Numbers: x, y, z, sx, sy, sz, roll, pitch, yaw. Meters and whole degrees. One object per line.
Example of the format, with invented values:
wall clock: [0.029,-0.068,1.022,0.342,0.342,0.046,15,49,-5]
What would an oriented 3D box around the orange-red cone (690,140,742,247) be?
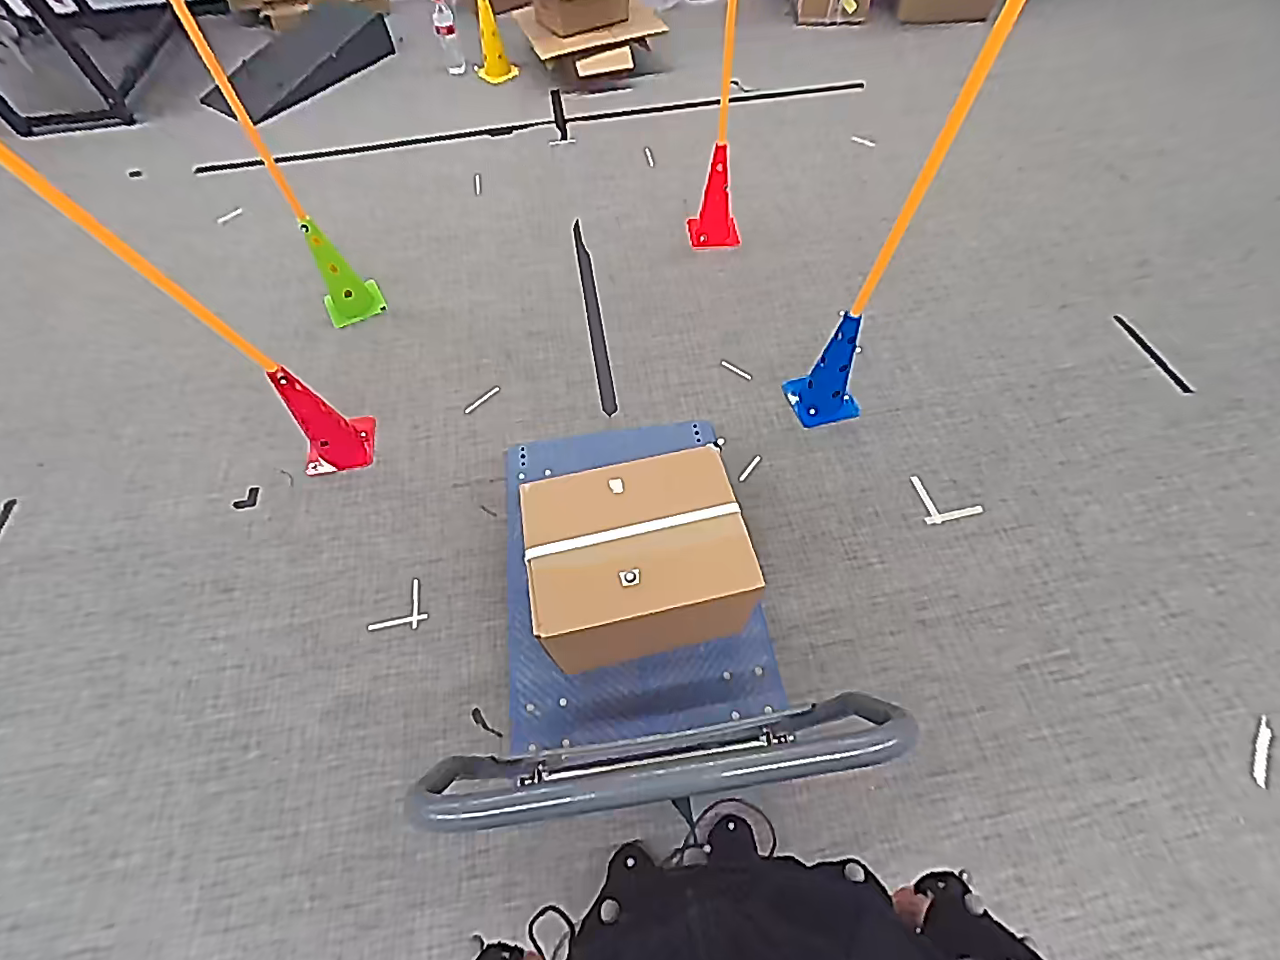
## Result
orange-red cone: [0.305,-1.104,2.061,0.199,0.360,0.198,-3,60,-1]

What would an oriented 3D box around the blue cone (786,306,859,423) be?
blue cone: [0.587,-0.356,1.623,0.193,0.380,0.192,-13,59,-6]
